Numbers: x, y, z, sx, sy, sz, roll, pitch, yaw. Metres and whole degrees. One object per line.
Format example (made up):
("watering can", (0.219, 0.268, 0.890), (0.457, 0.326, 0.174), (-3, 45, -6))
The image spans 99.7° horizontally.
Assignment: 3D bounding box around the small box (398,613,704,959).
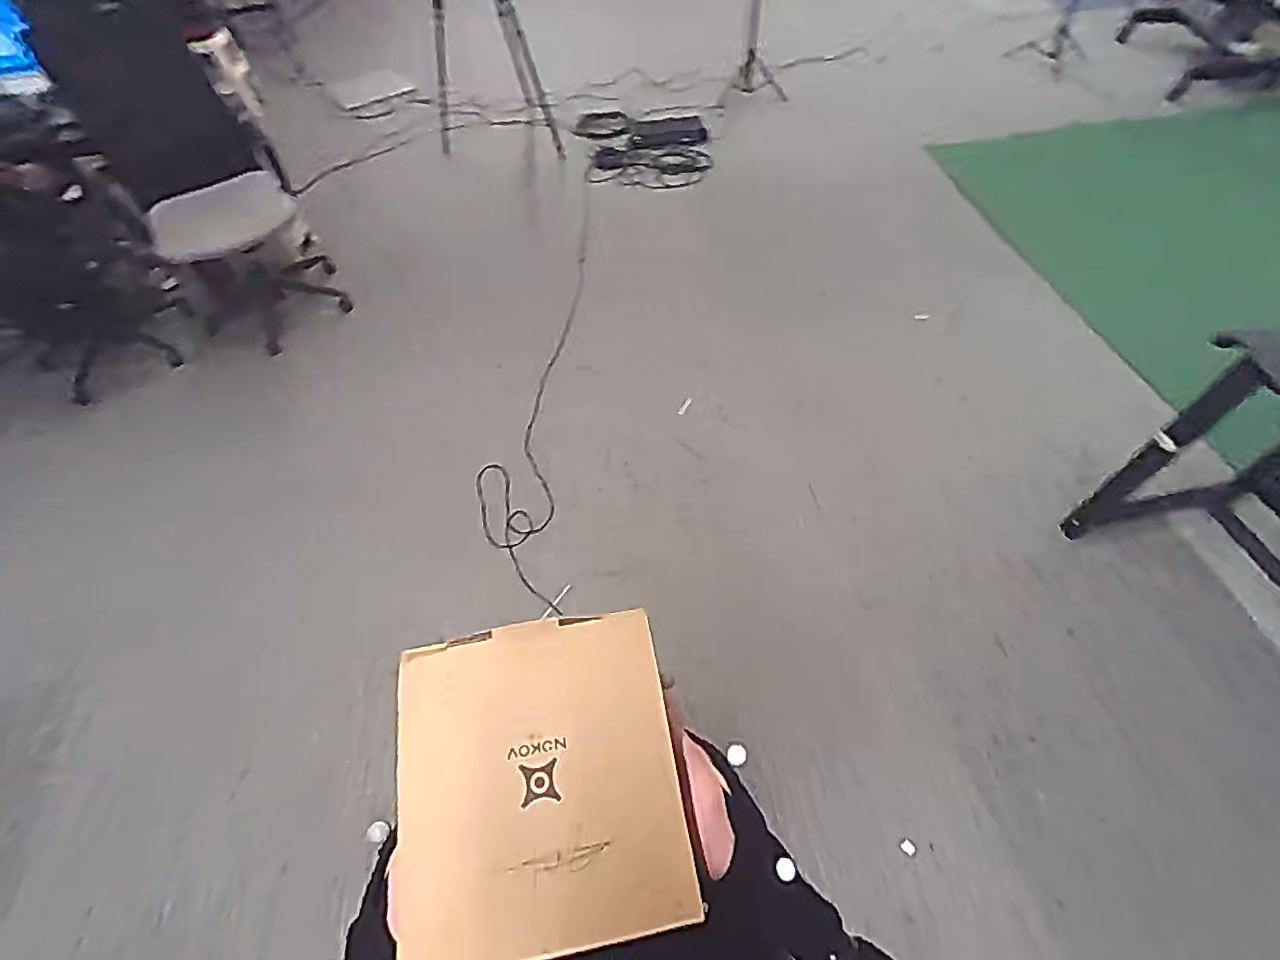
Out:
("small box", (-0.060, 0.211, 0.393), (0.168, 0.176, 0.179), (-8, 66, -5))
